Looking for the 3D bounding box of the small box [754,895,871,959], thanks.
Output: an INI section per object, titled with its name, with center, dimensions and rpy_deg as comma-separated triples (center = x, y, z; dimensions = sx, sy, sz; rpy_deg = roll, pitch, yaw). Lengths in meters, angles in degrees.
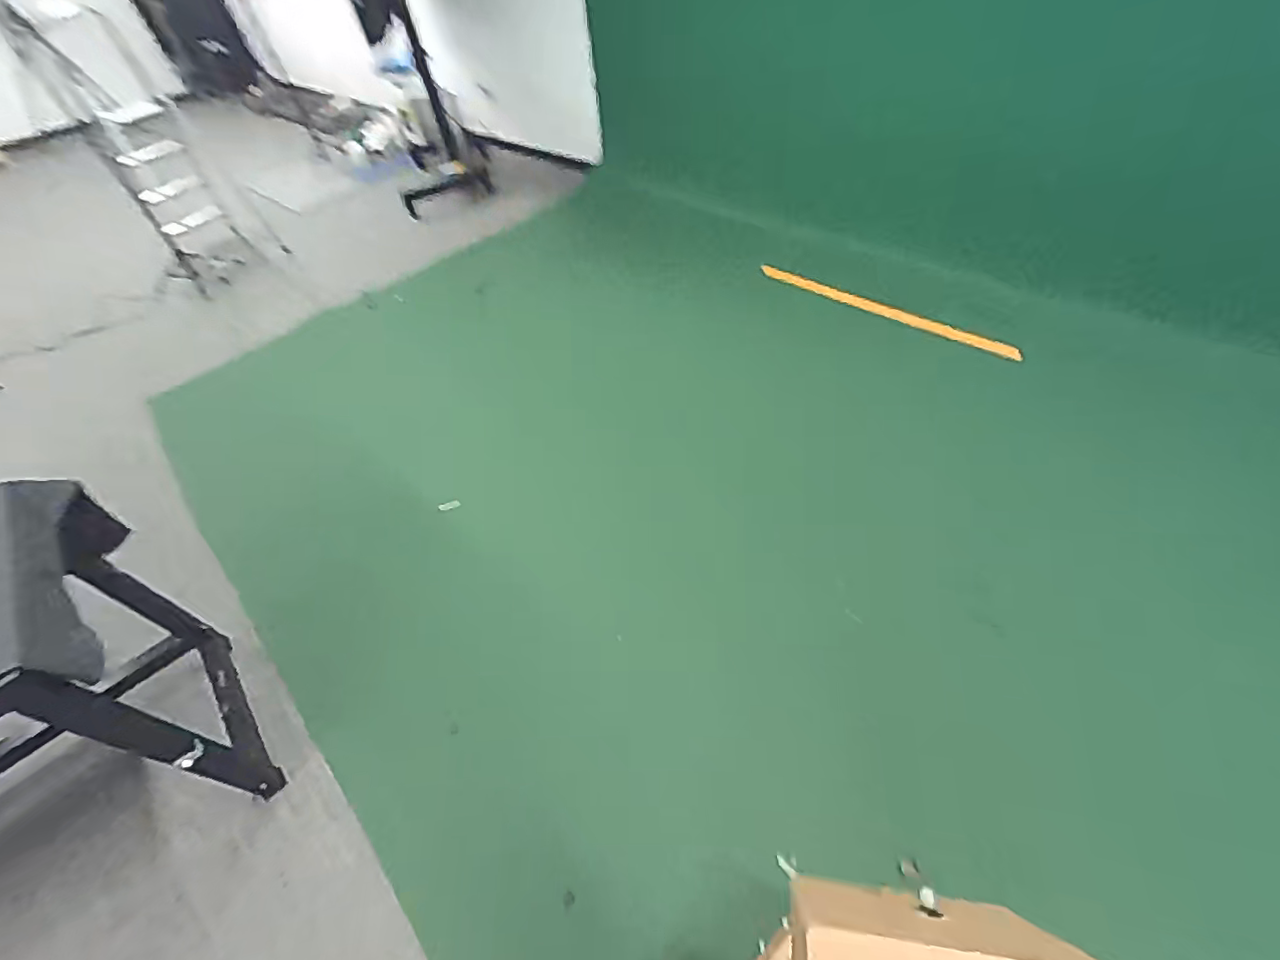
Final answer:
[small box]
center = 0.318, 0.915, 0.996
dimensions = 0.179, 0.176, 0.168
rpy_deg = -37, 54, -22
